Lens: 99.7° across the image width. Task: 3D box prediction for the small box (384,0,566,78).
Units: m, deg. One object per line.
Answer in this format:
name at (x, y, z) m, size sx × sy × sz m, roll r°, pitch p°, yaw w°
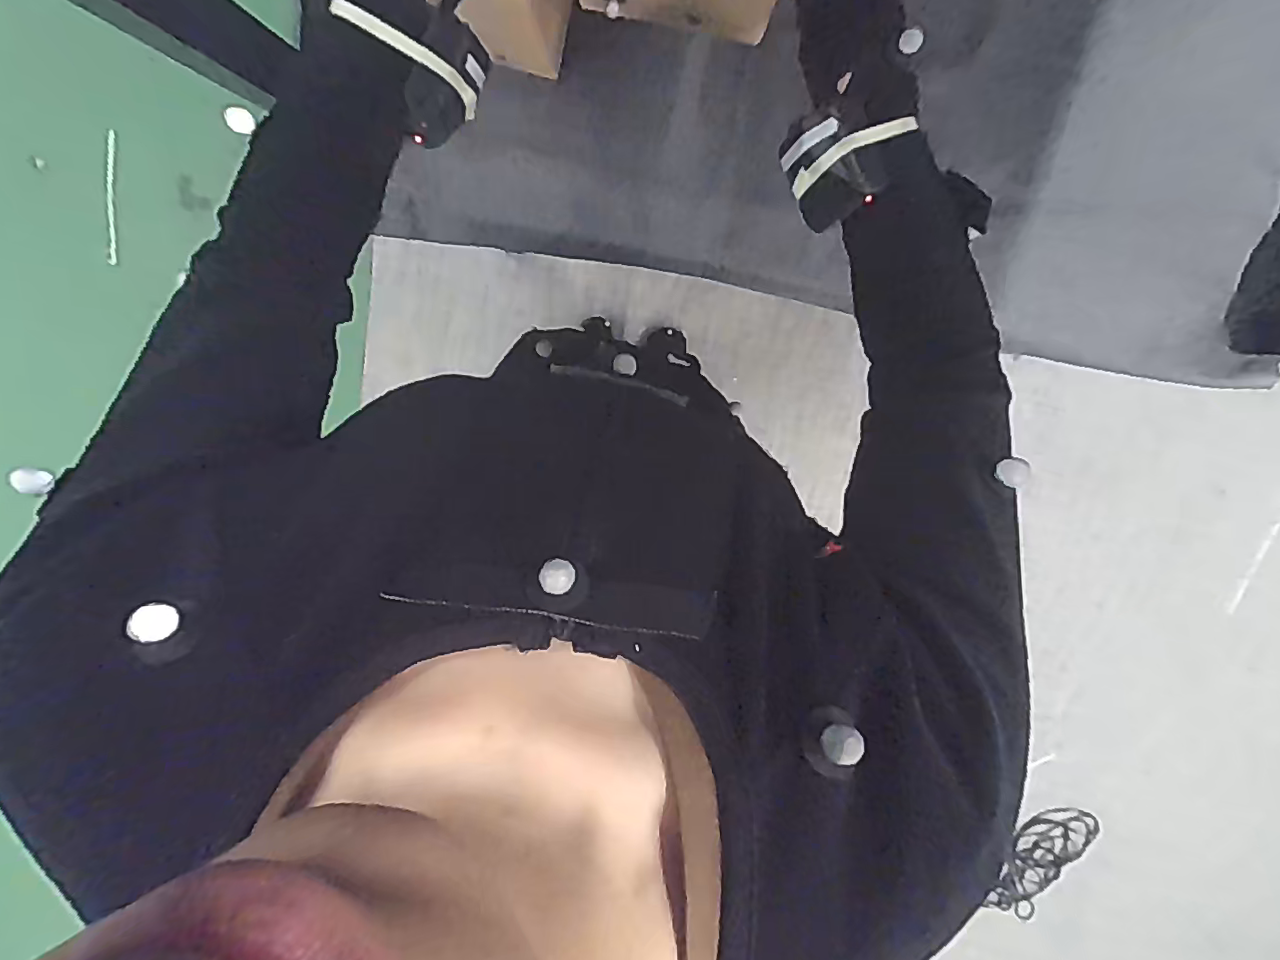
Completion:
small box at (-0.156, -0.527, 0.509) m, size 0.168 × 0.176 × 0.179 m, roll 14°, pitch 105°, yaw -4°
